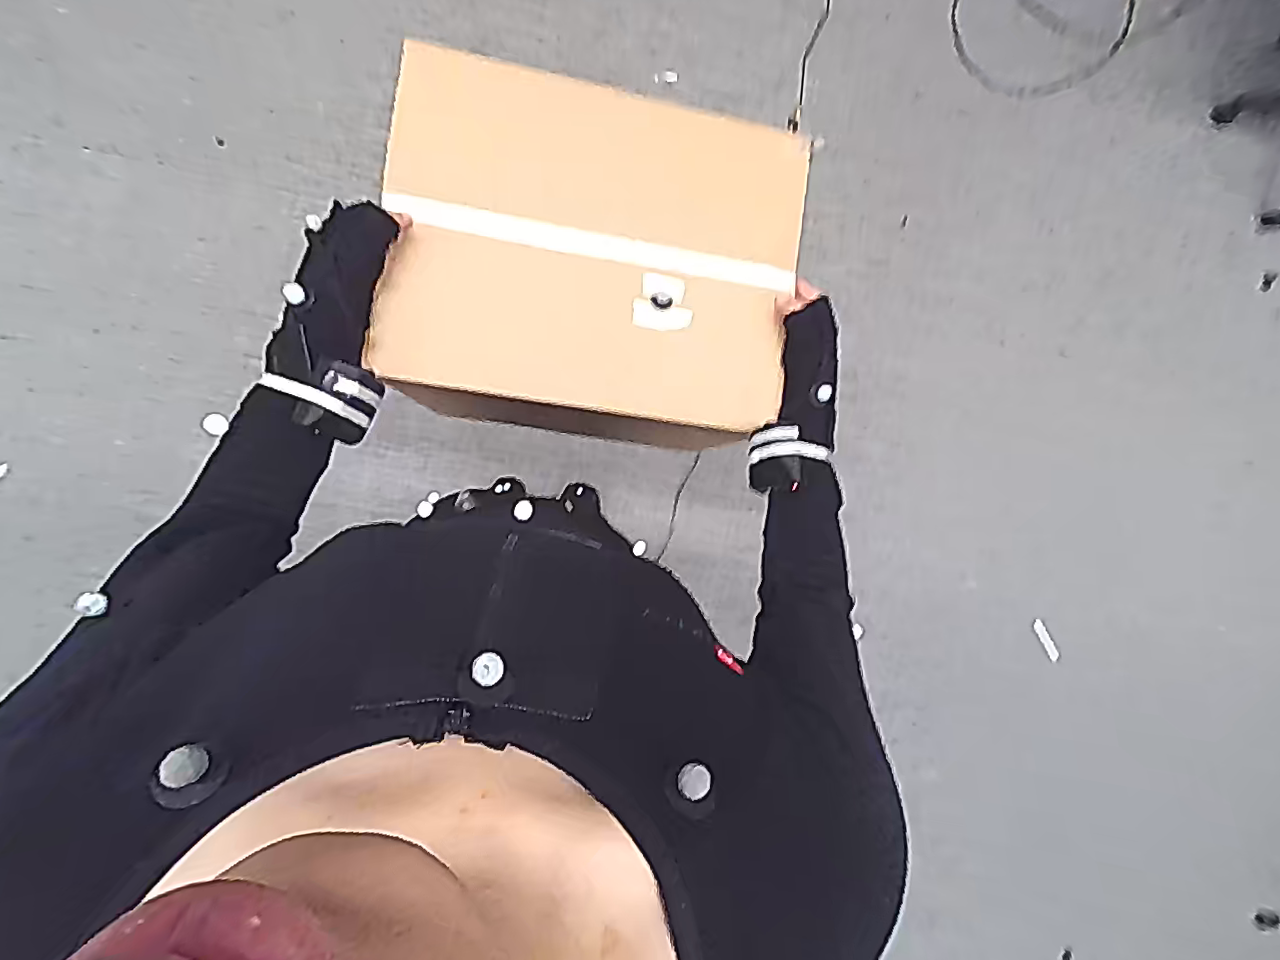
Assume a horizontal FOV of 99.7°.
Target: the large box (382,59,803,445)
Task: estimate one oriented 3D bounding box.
[{"bbox_3d":[-0.060,-0.230,0.689,0.408,0.320,0.320,7,88,-9],"label":"large box"}]
